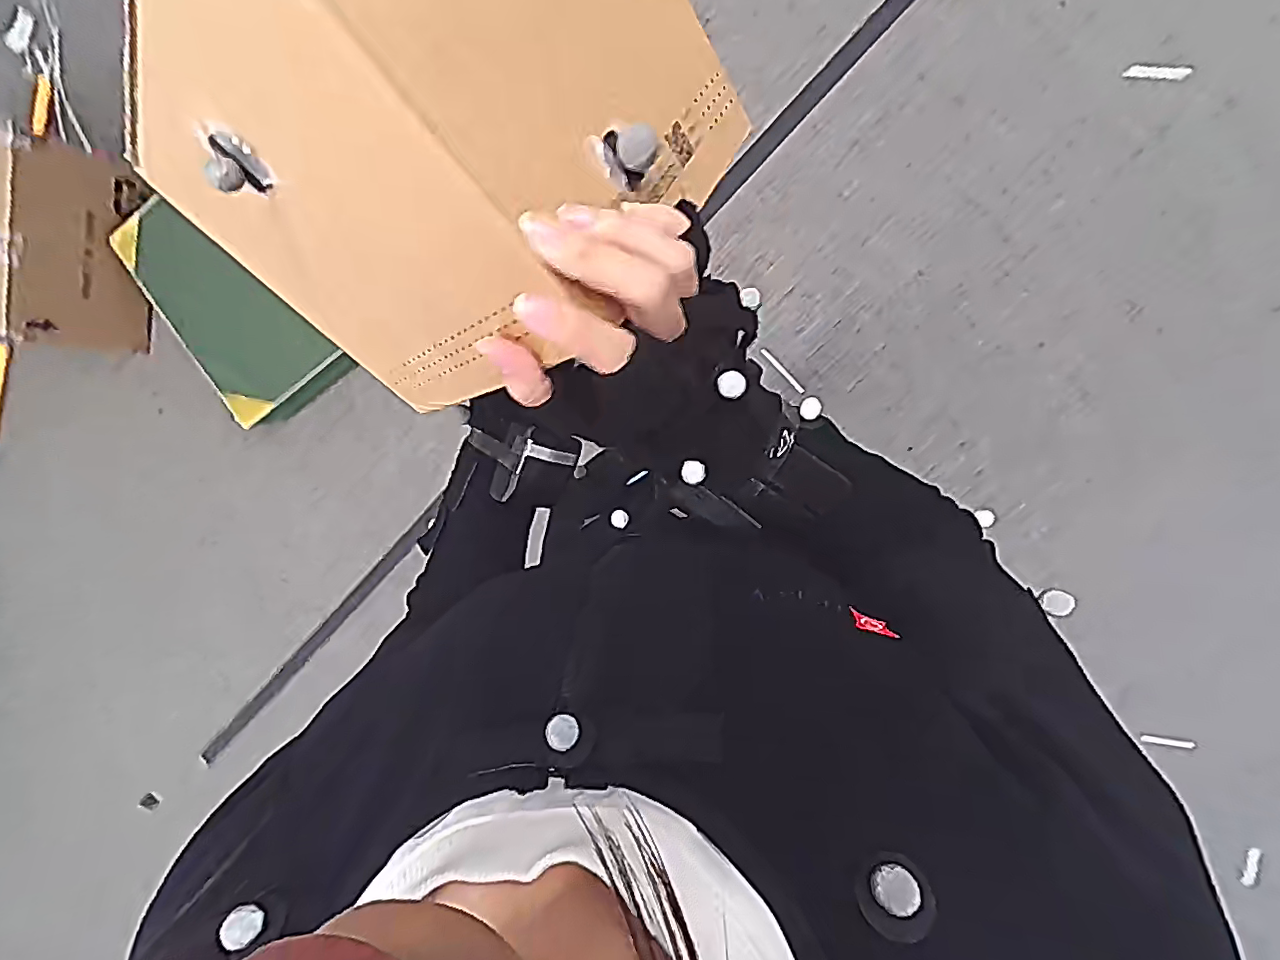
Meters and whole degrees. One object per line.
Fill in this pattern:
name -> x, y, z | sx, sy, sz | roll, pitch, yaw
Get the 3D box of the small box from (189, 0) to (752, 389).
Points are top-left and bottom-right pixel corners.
small box -> -0.077, -0.165, 0.274 | 0.176, 0.179, 0.168 | 45, 61, -31
